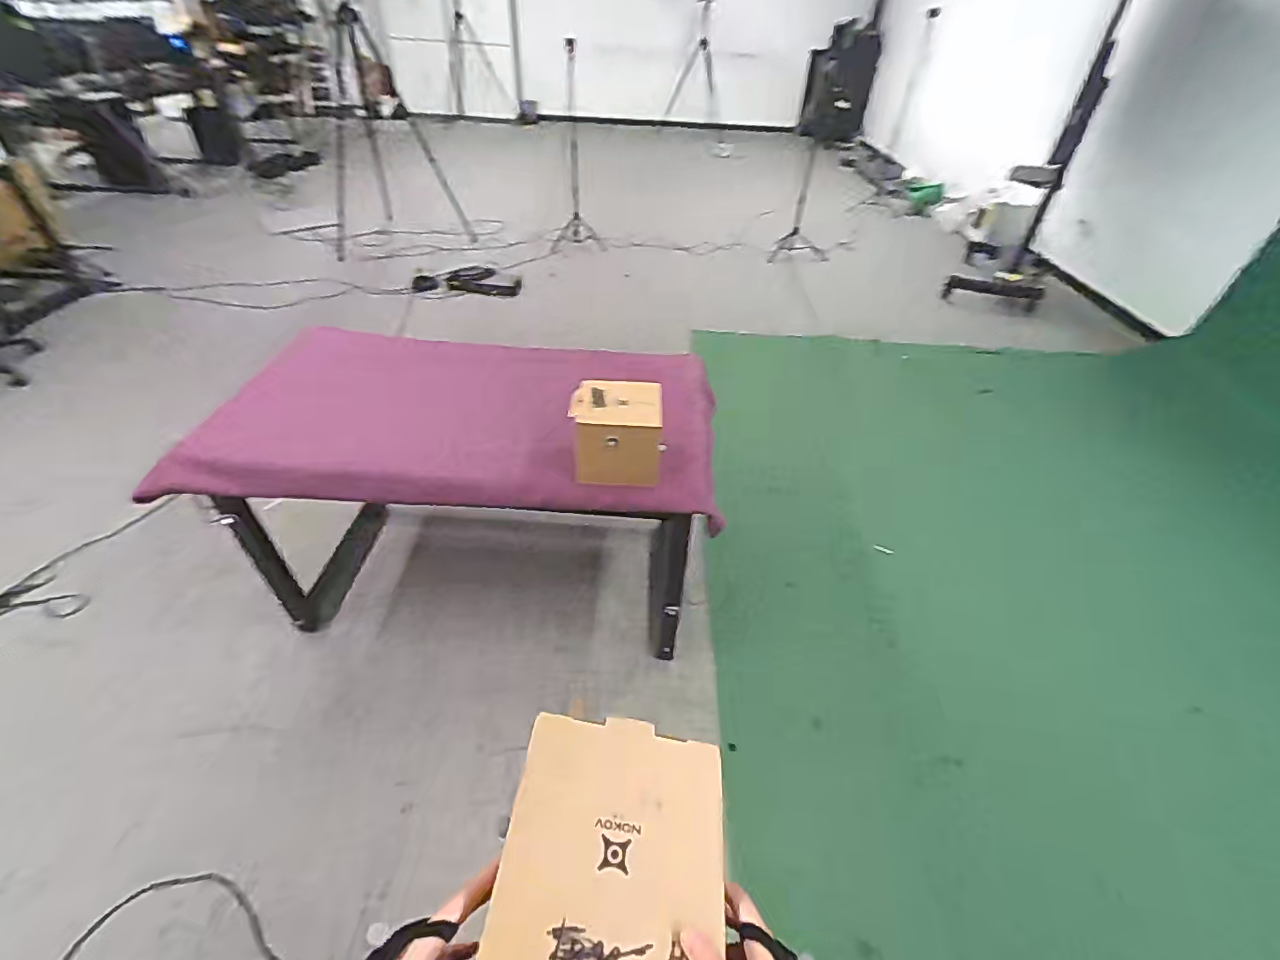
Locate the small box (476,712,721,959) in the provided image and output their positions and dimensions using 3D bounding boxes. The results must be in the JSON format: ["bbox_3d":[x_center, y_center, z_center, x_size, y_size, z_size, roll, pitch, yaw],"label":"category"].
[{"bbox_3d":[-0.035,0.333,0.460,0.168,0.176,0.179,12,38,-3],"label":"small box"}]

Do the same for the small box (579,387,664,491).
[{"bbox_3d":[-0.038,-0.090,1.202,0.179,0.176,0.168,2,42,-1],"label":"small box"}]
